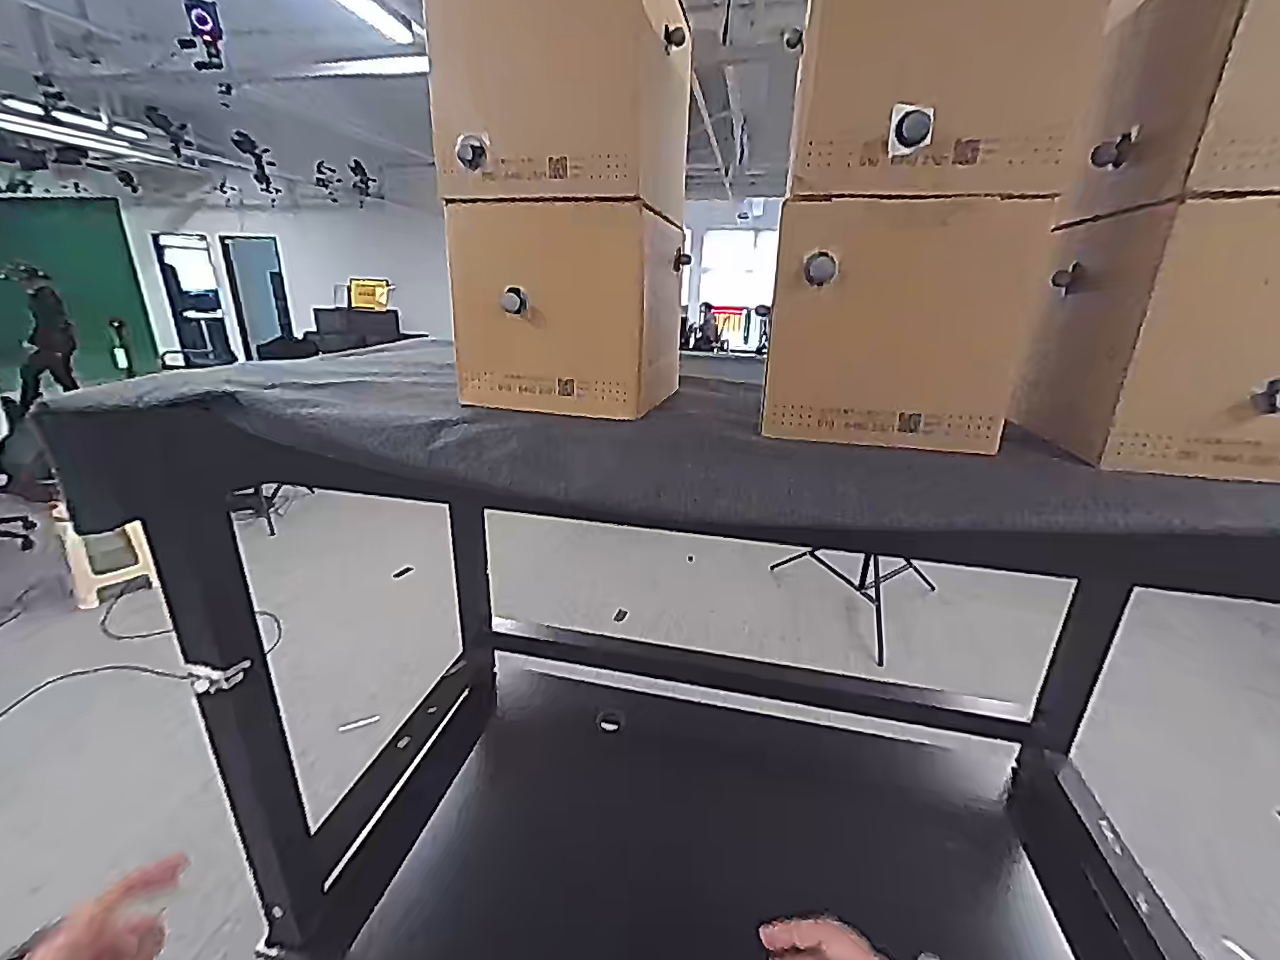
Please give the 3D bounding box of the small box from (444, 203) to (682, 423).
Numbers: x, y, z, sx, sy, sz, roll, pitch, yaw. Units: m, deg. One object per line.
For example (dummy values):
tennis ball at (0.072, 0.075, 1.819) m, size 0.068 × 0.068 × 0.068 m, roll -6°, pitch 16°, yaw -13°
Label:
small box at (-0.058, -0.155, 0.514) m, size 0.168 × 0.176 × 0.179 m, roll 7°, pitch 19°, yaw 13°

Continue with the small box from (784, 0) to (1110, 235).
small box at (0.202, -0.282, 0.404) m, size 0.168 × 0.176 × 0.179 m, roll 4°, pitch 19°, yaw 11°

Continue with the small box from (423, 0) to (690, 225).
small box at (-0.055, -0.310, 0.459) m, size 0.168 × 0.176 × 0.179 m, roll 7°, pitch 18°, yaw 13°

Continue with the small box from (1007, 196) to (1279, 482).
small box at (0.407, -0.103, 0.401) m, size 0.168 × 0.176 × 0.179 m, roll 5°, pitch 19°, yaw 13°

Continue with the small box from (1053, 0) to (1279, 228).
small box at (0.413, -0.259, 0.349) m, size 0.168 × 0.176 × 0.179 m, roll 7°, pitch 20°, yaw 13°
